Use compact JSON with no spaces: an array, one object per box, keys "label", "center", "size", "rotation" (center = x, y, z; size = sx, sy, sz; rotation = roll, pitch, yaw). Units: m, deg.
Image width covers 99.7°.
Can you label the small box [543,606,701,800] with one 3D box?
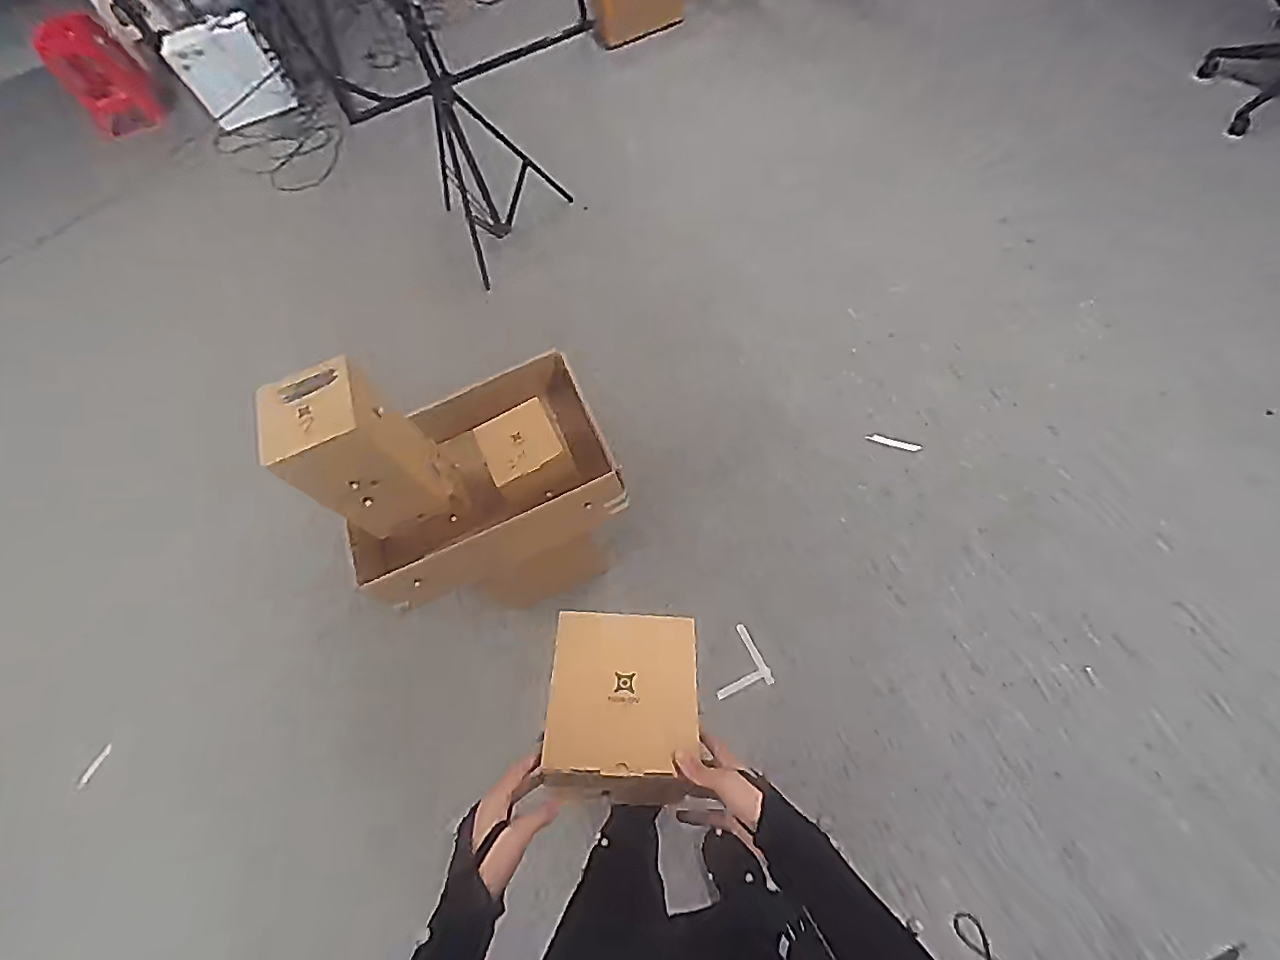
[{"label":"small box","center":[-0.023,0.276,0.665],"size":[0.168,0.176,0.179],"rotation":[4,51,-3]}]

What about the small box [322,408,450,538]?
[{"label":"small box","center":[-0.518,-0.009,1.114],"size":[0.168,0.176,0.179],"rotation":[-24,61,-2]}]
